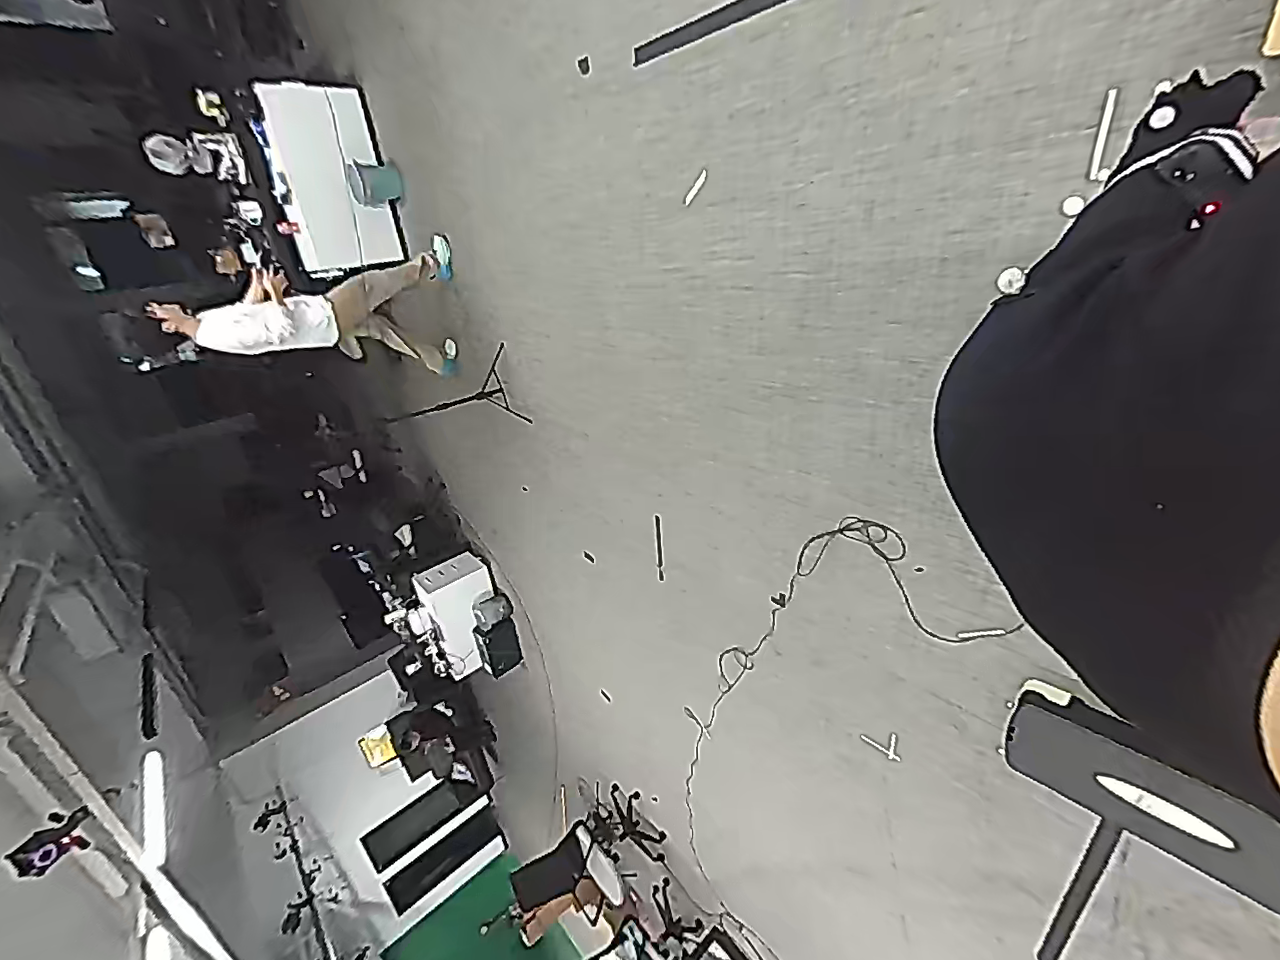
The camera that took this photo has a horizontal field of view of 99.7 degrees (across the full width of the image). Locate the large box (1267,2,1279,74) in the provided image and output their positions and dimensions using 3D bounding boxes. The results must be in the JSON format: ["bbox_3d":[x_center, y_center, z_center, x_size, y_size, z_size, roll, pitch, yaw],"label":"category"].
[{"bbox_3d":[1.038,-0.697,0.592,0.408,0.320,0.320,20,126,44],"label":"large box"}]
